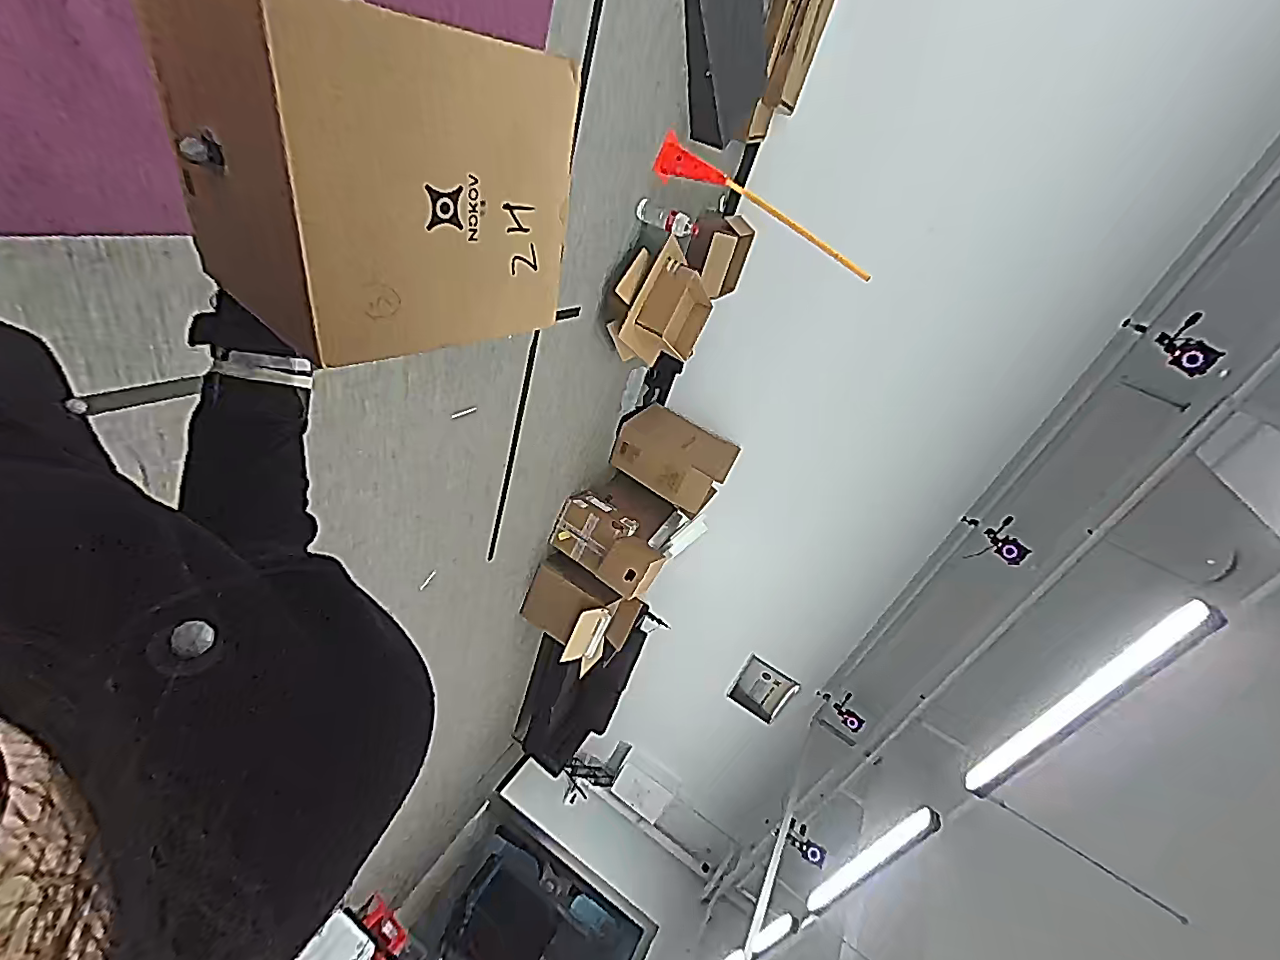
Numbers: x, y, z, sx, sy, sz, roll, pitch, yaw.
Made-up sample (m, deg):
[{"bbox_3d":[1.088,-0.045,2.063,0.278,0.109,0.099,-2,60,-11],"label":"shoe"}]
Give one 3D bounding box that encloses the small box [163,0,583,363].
[{"bbox_3d":[-0.165,-0.197,0.351,0.179,0.176,0.168,-29,143,-44],"label":"small box"}]
